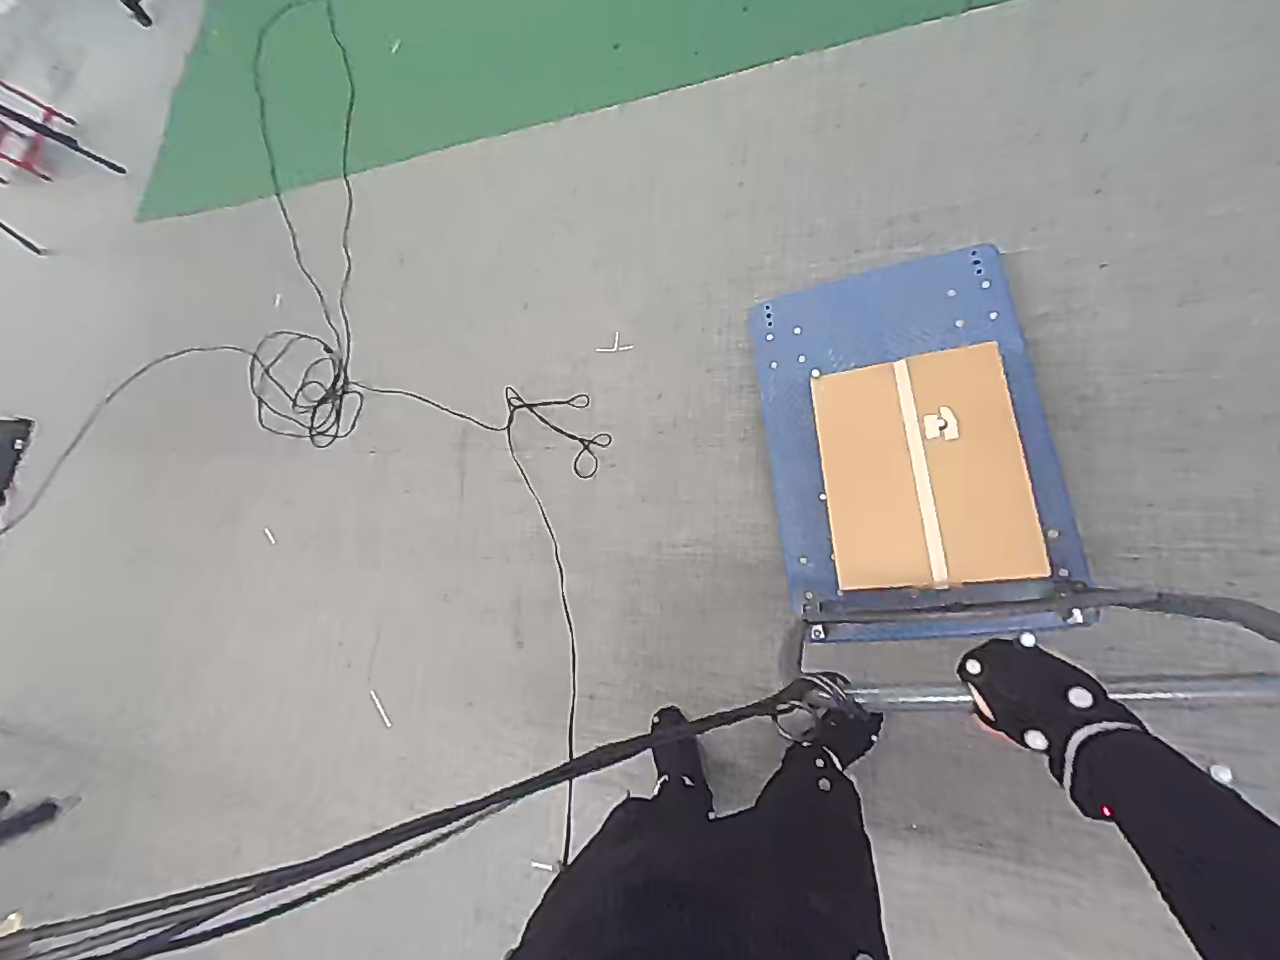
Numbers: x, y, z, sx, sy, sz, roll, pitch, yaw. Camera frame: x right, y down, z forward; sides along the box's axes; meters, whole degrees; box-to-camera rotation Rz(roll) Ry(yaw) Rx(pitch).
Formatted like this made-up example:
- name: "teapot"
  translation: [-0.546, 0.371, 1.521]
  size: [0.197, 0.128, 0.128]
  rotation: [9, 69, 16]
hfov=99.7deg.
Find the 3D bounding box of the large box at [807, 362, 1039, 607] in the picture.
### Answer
- name: "large box"
  translation: [0.533, 0.038, 1.086]
  size: [0.320, 0.320, 0.408]
  rotation: [-8, 73, 20]
